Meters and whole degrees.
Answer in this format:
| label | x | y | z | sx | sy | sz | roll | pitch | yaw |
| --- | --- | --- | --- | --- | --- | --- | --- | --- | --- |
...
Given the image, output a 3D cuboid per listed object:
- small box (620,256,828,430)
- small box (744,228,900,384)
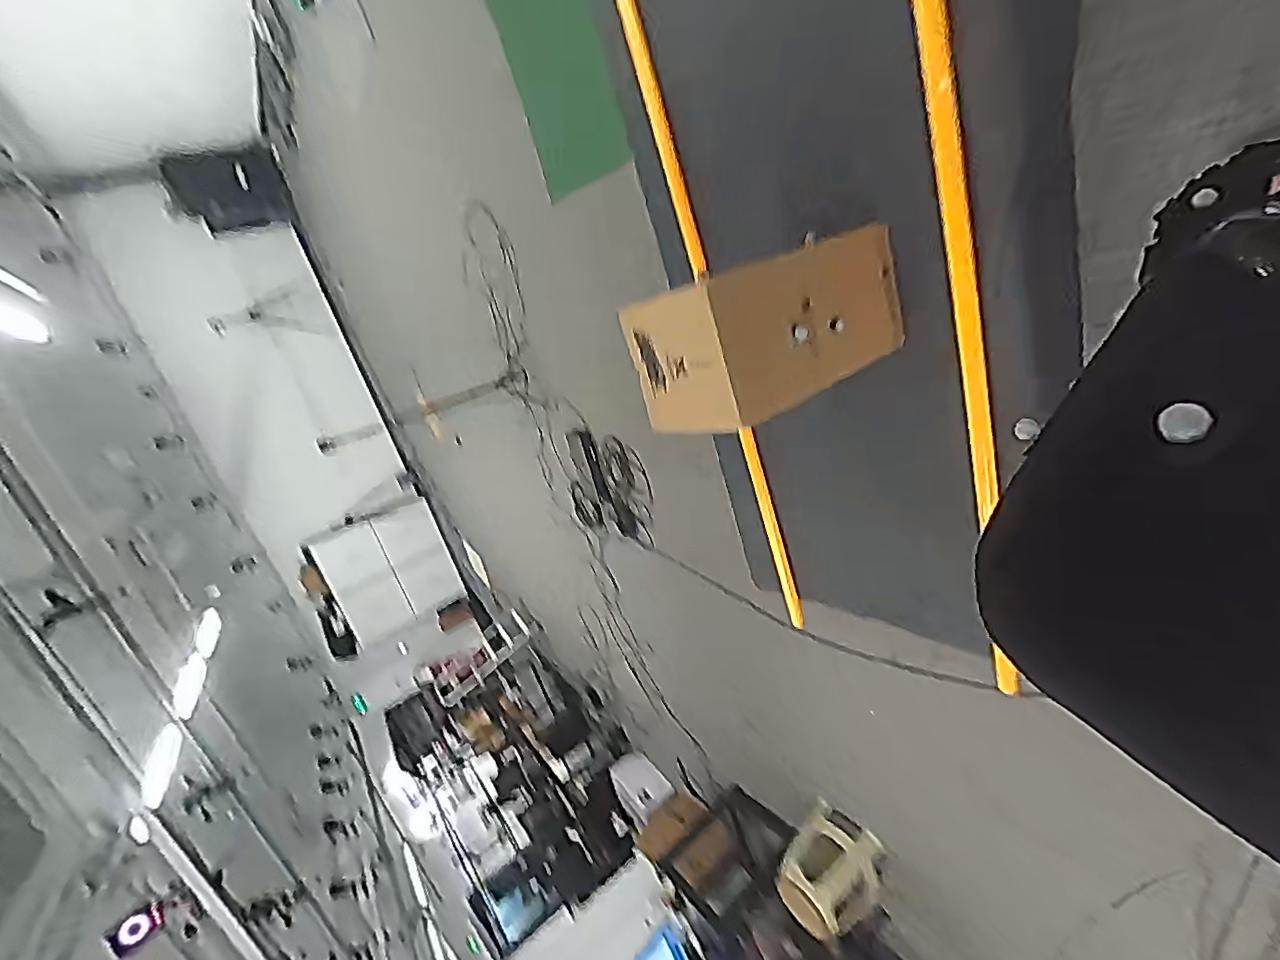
| label | x | y | z | sx | sy | sz | roll | pitch | yaw |
| --- | --- | --- | --- | --- | --- | --- | --- | --- | --- |
| small box | 0.107 | -0.169 | 0.693 | 0.179 | 0.176 | 0.168 | 7 | 119 | 56 |
| small box | 0.234 | -0.238 | 0.771 | 0.179 | 0.176 | 0.168 | 8 | 122 | 57 |
